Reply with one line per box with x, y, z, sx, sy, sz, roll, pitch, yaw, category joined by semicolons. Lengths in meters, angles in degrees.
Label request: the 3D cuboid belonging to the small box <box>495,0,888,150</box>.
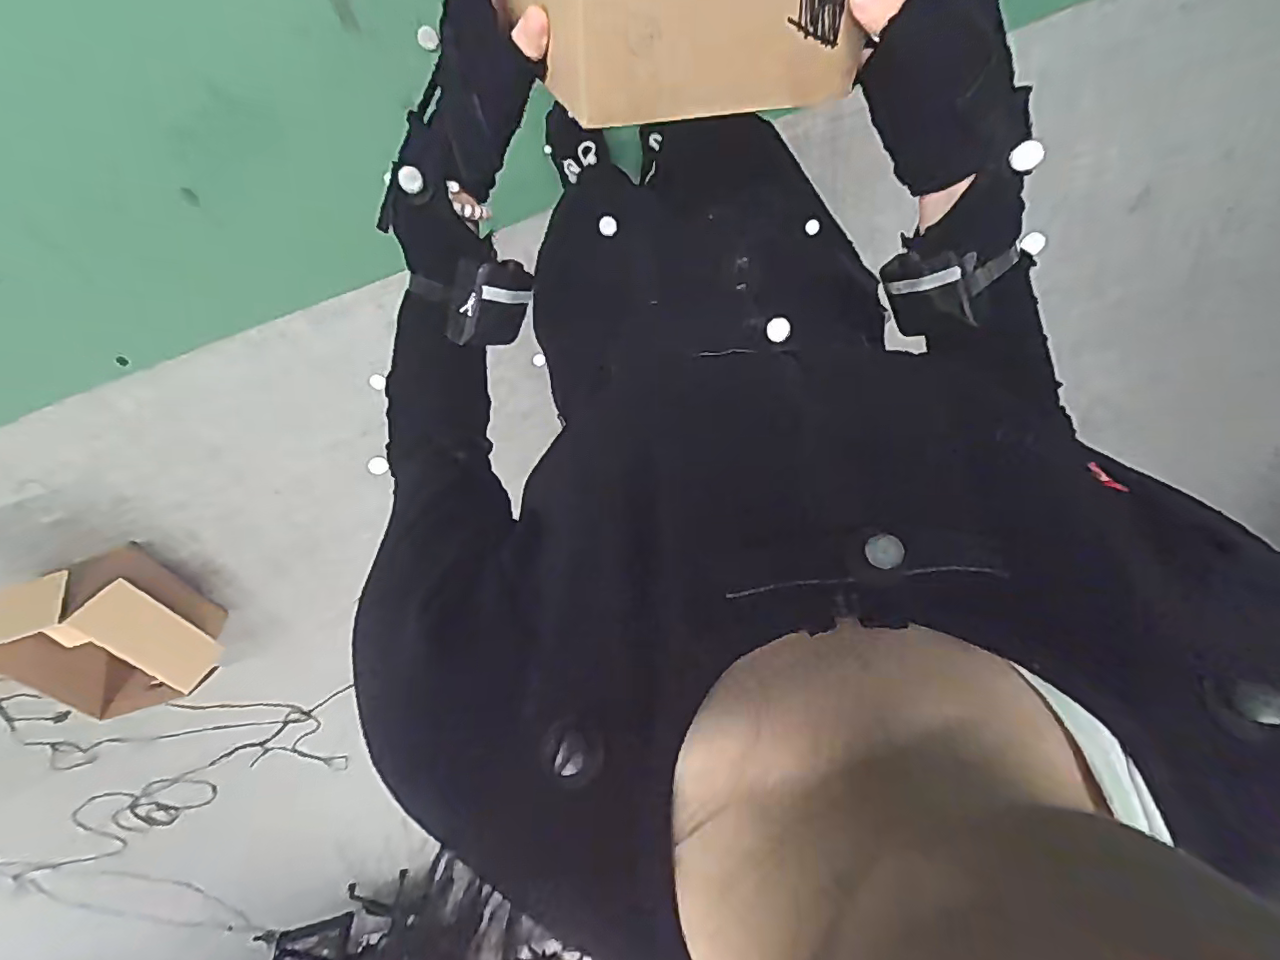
0.022;-0.305;0.287;0.179;0.176;0.168;-17;144;-16;small box
